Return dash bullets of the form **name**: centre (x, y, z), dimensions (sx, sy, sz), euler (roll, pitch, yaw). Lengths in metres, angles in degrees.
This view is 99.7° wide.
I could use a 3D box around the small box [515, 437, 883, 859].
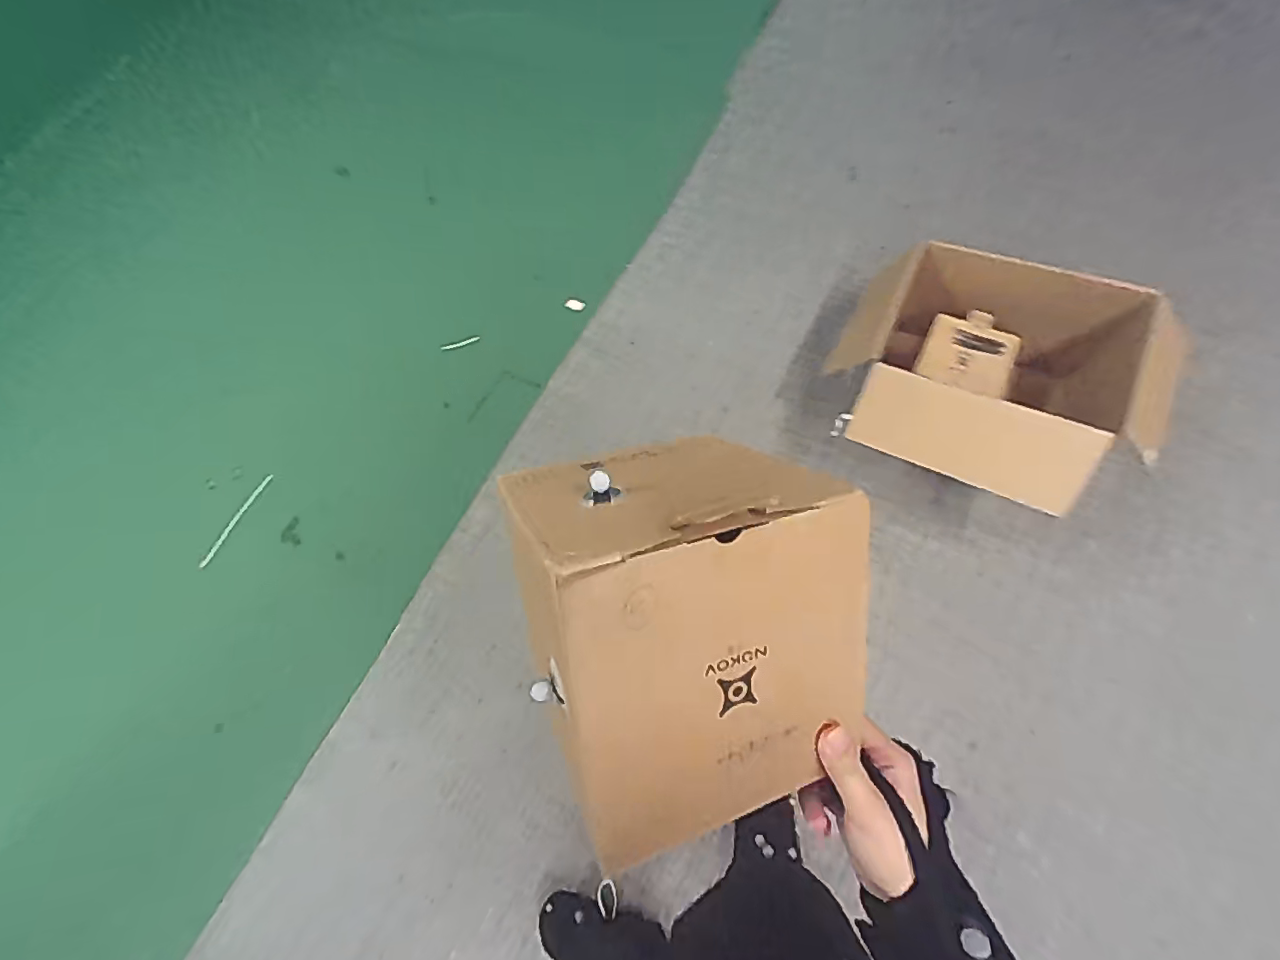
- **small box**: centre (0.024, 0.075, 0.343), dimensions (0.168, 0.176, 0.179), euler (-11, 109, -19)
